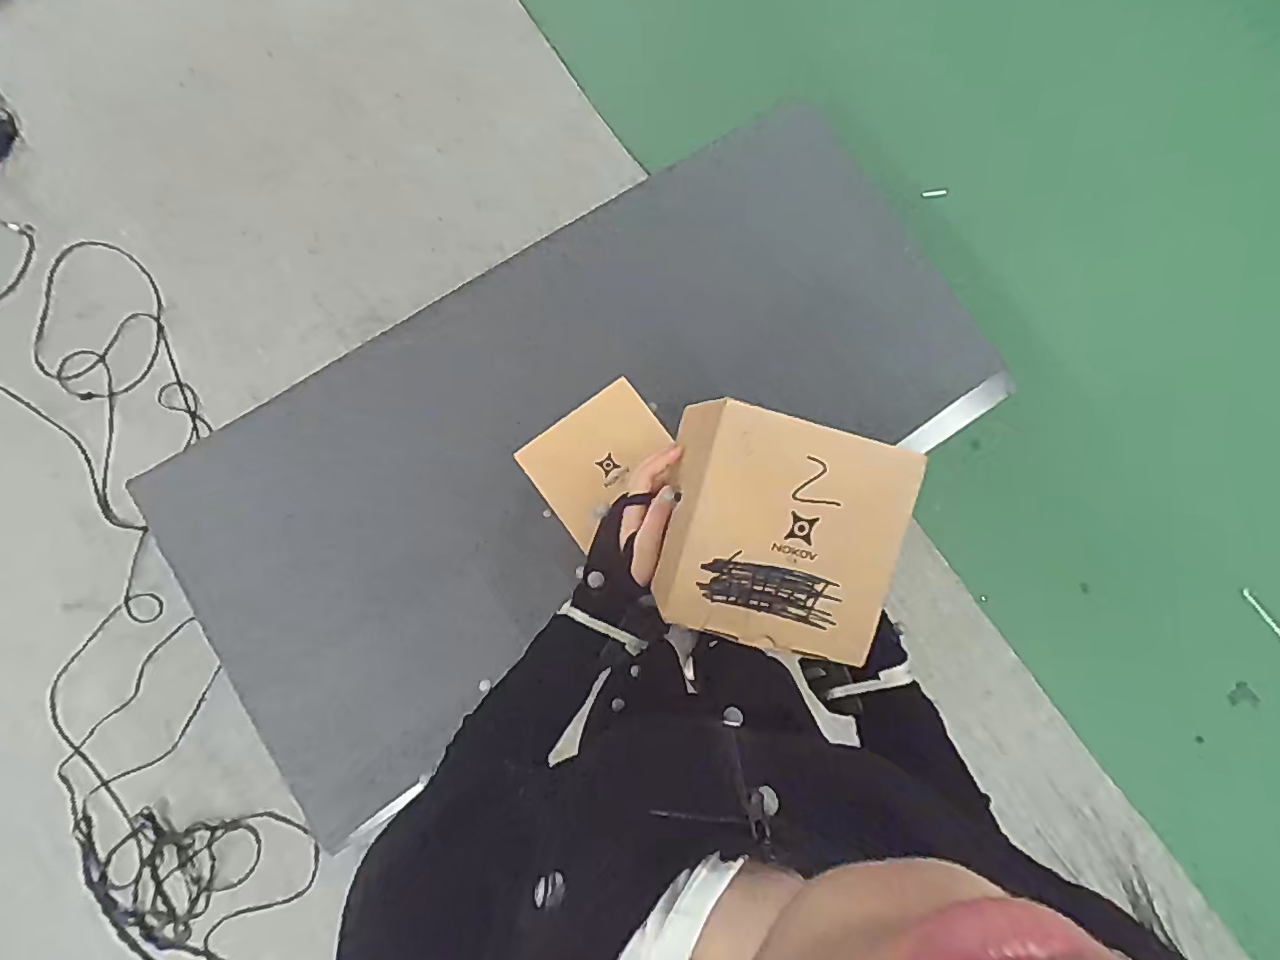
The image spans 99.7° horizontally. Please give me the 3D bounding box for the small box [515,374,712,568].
[{"bbox_3d":[-0.033,-0.001,0.702,0.168,0.176,0.179,-37,84,-5],"label":"small box"}]
